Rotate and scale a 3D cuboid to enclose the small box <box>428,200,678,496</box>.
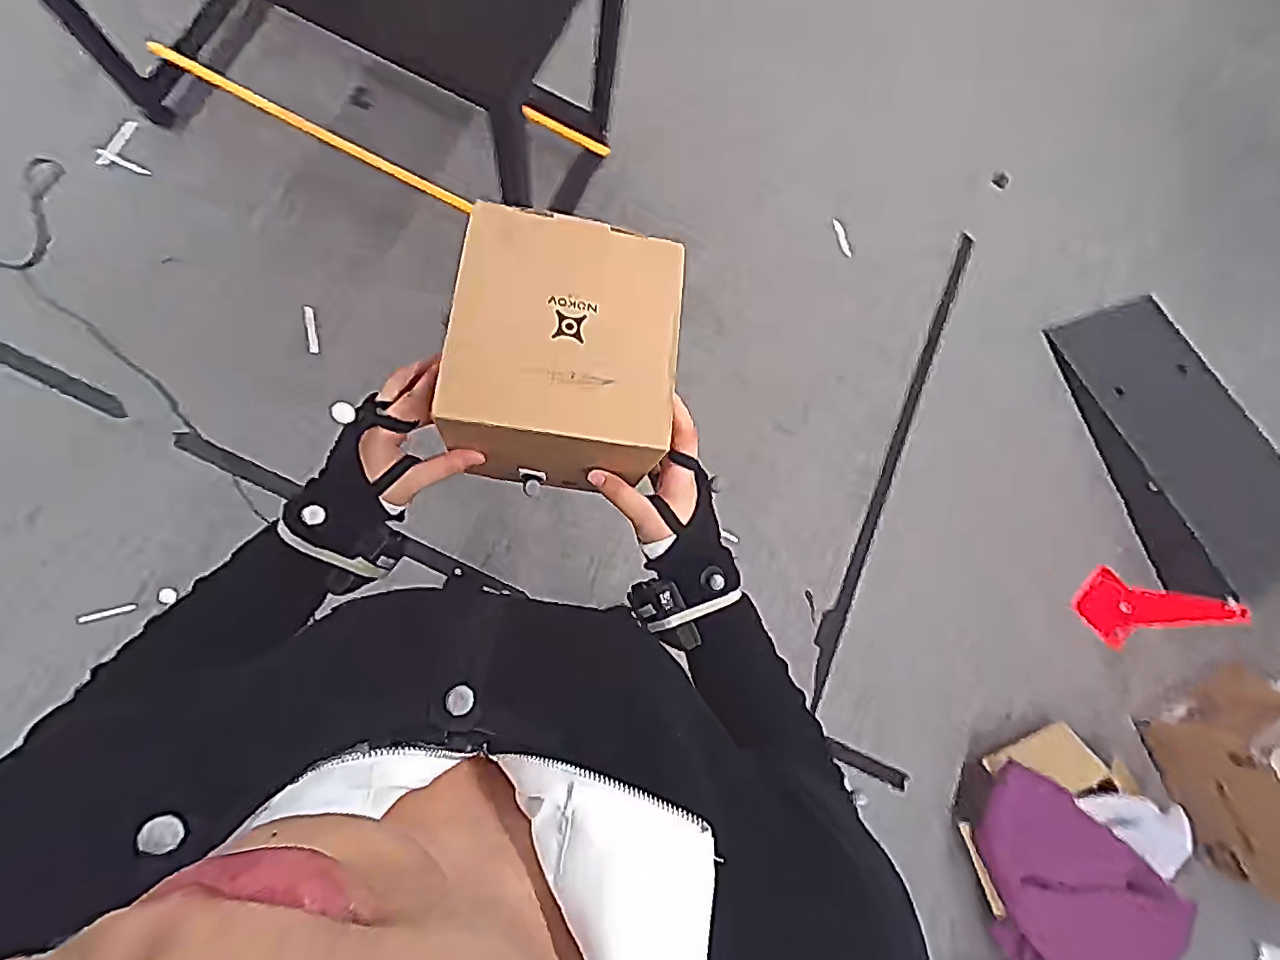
[{"bbox_3d":[-0.072,-0.095,0.467,0.168,0.176,0.179,7,76,-10],"label":"small box"}]
